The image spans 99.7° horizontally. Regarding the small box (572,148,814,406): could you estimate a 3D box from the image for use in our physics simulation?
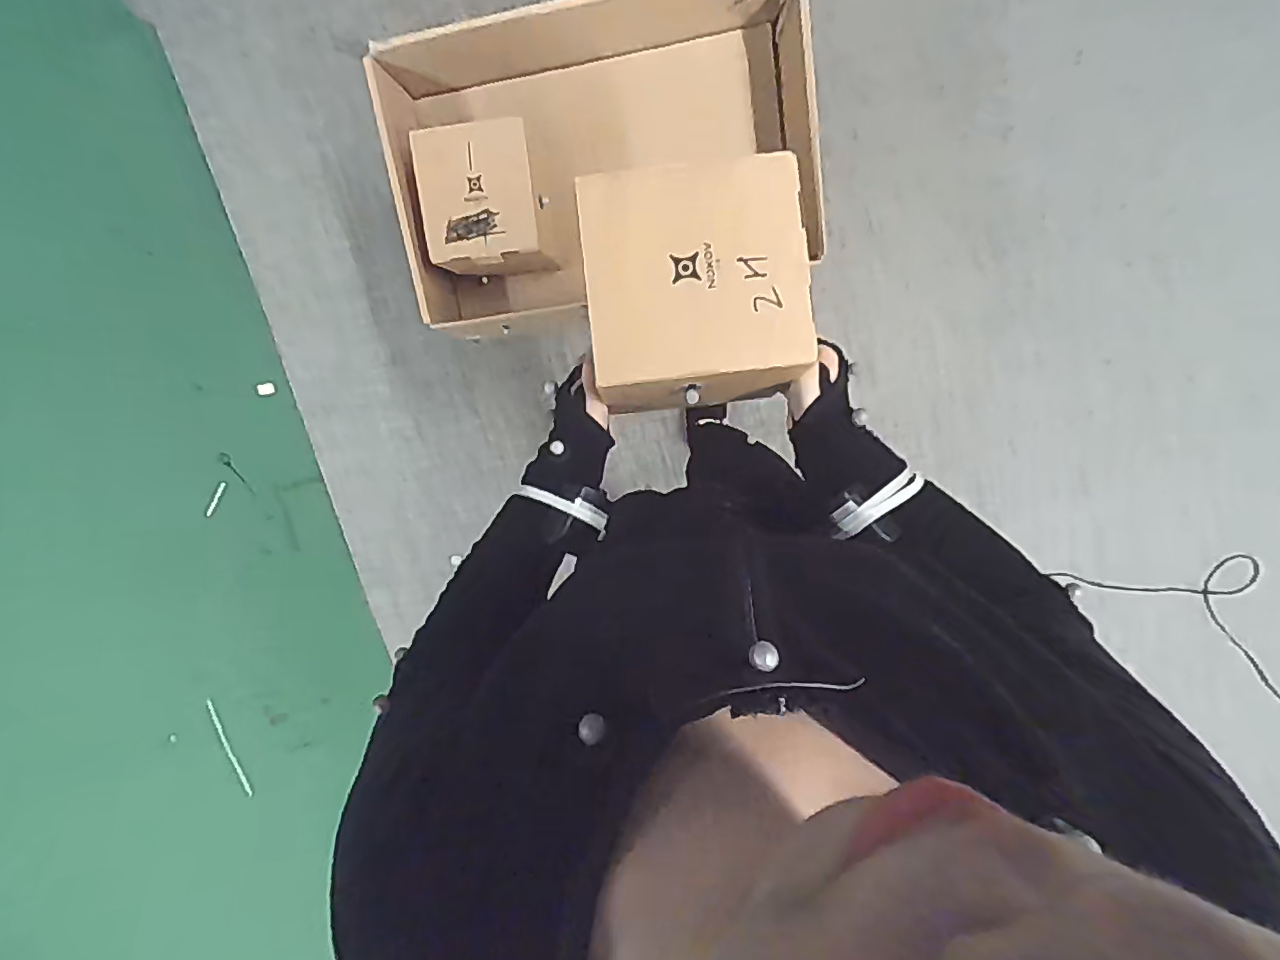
[{"bbox_3d":[0.042,-0.167,0.499,0.179,0.176,0.168,-6,90,0],"label":"small box"}]
